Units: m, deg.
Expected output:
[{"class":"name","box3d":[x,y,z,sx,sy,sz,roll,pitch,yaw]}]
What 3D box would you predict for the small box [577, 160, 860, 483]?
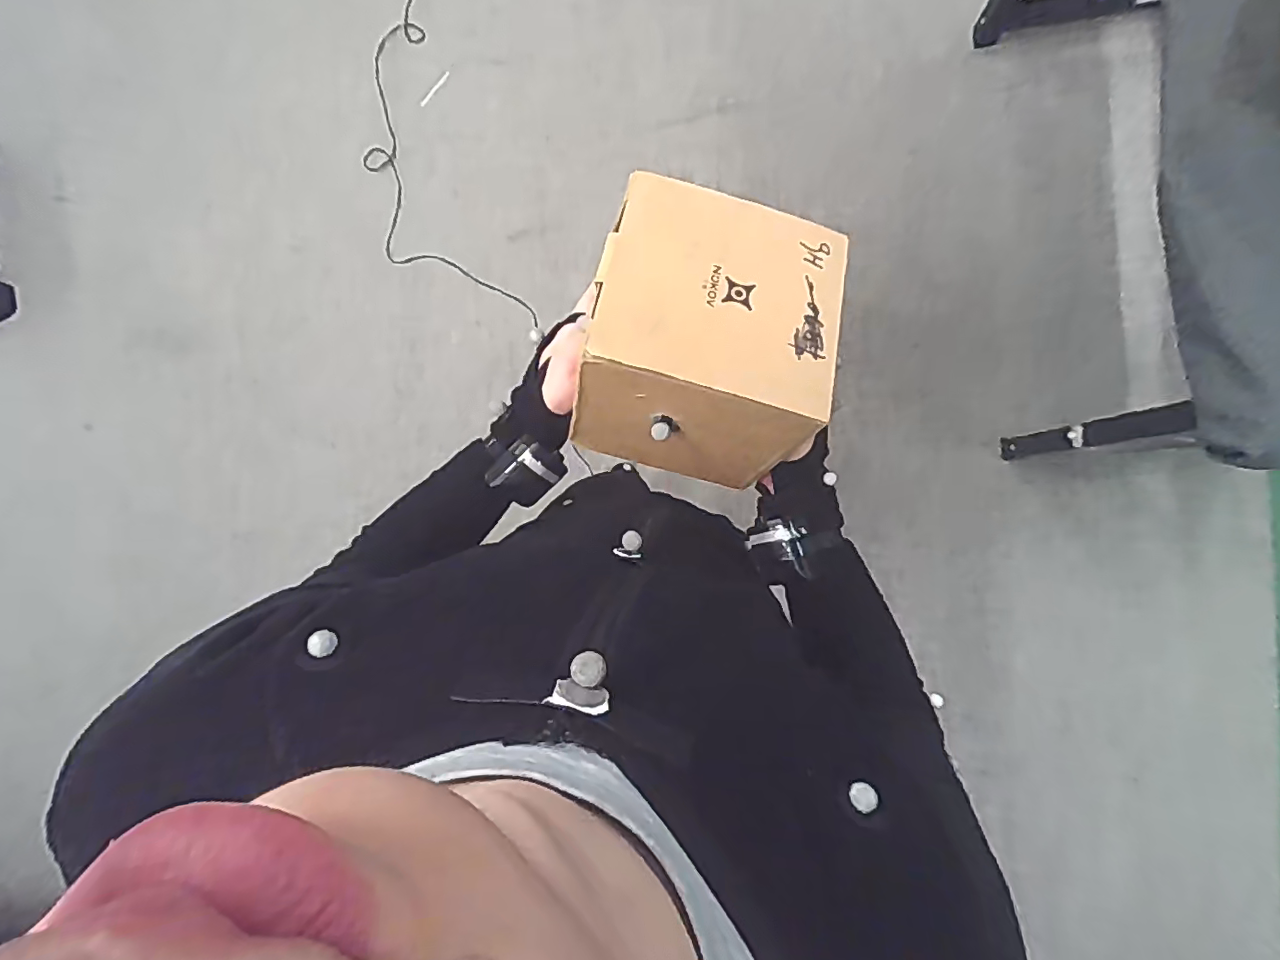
[{"class":"small box","box3d":[0.051,-0.110,0.441,0.179,0.176,0.168,14,71,-6]}]
